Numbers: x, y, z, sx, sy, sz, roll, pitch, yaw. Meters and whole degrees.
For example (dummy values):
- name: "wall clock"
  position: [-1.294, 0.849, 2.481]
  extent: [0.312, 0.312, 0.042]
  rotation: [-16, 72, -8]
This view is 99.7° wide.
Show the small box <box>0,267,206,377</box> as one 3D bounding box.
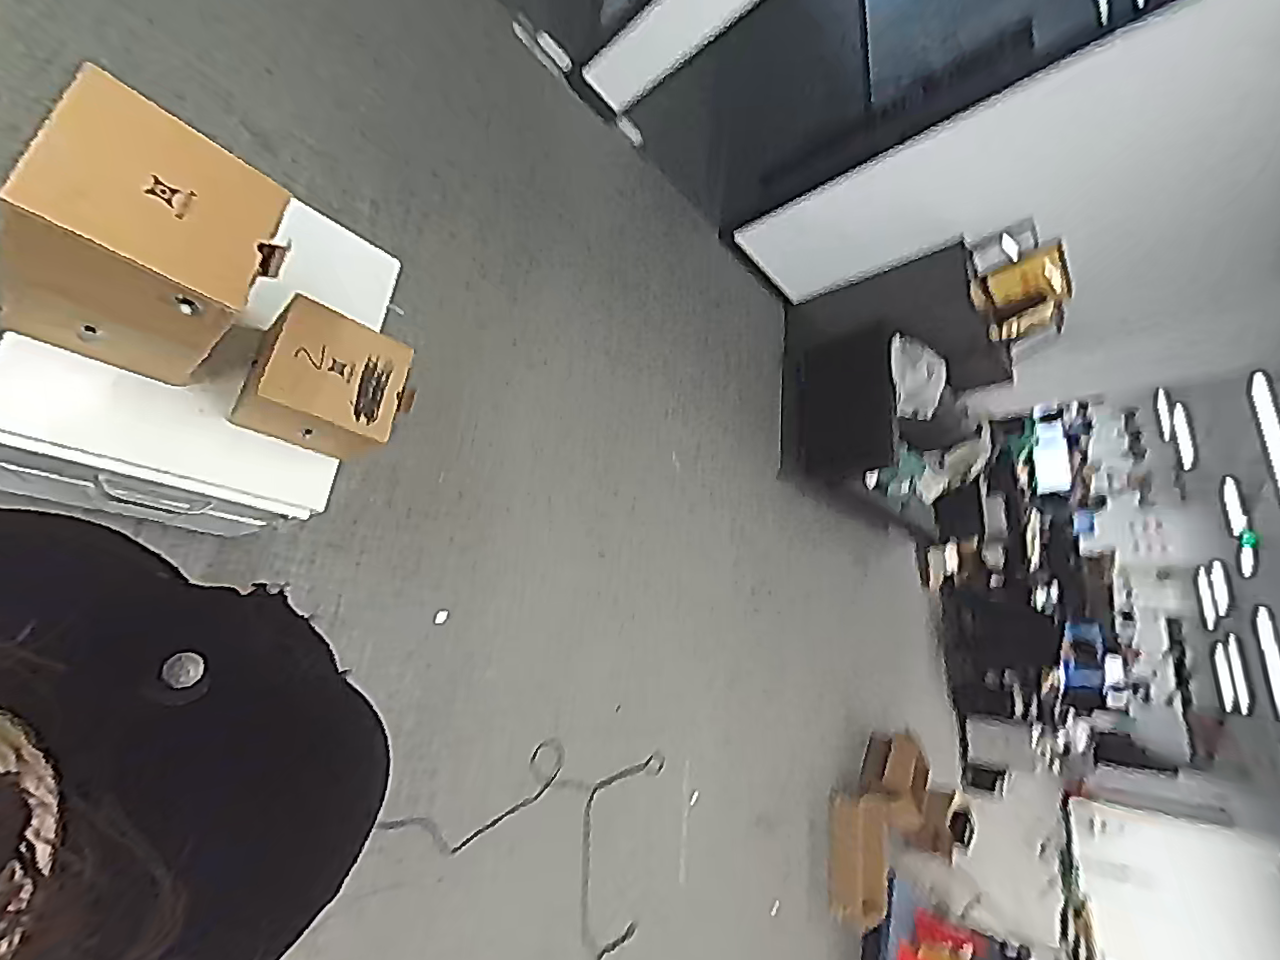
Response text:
- name: "small box"
  position: [-0.647, -0.249, 0.677]
  extent: [0.179, 0.176, 0.168]
  rotation: [25, 63, -45]

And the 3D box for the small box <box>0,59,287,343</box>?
- name: "small box"
  position: [-0.523, -0.270, 0.572]
  extent: [0.179, 0.176, 0.168]
  rotation: [29, 60, -45]
